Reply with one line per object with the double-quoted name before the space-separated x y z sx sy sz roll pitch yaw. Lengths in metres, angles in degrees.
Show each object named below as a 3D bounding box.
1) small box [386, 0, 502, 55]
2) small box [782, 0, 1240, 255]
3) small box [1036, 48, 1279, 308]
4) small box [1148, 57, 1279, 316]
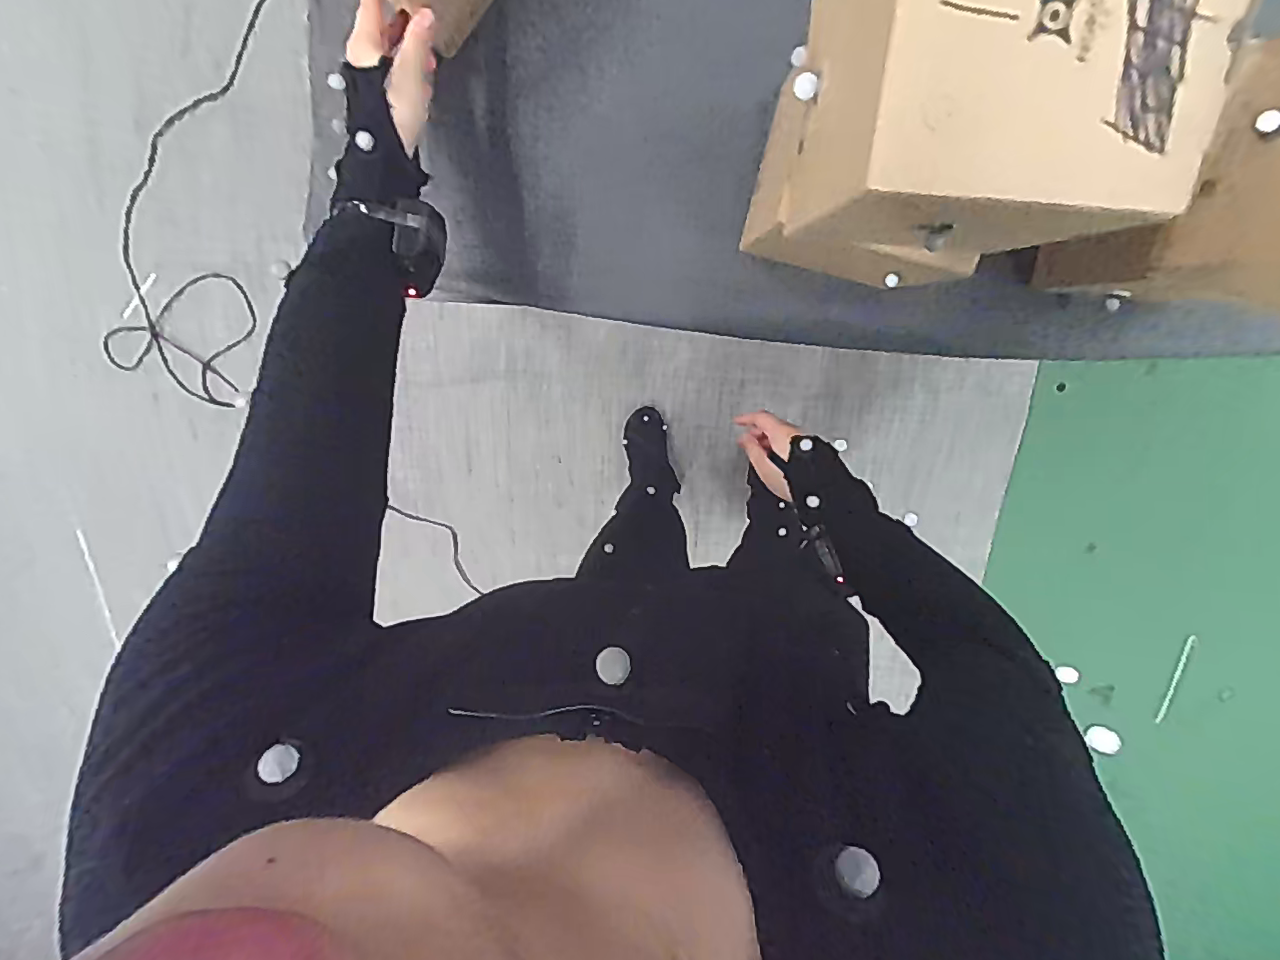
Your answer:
"small box" -0.197 -0.508 0.438 0.179 0.176 0.168 42 103 -12
"small box" 0.207 -0.245 0.346 0.179 0.176 0.168 4 106 -1
"small box" 0.525 -0.262 0.512 0.168 0.176 0.179 4 107 0
"small box" 0.522 -0.204 0.360 0.179 0.176 0.168 15 106 -3
